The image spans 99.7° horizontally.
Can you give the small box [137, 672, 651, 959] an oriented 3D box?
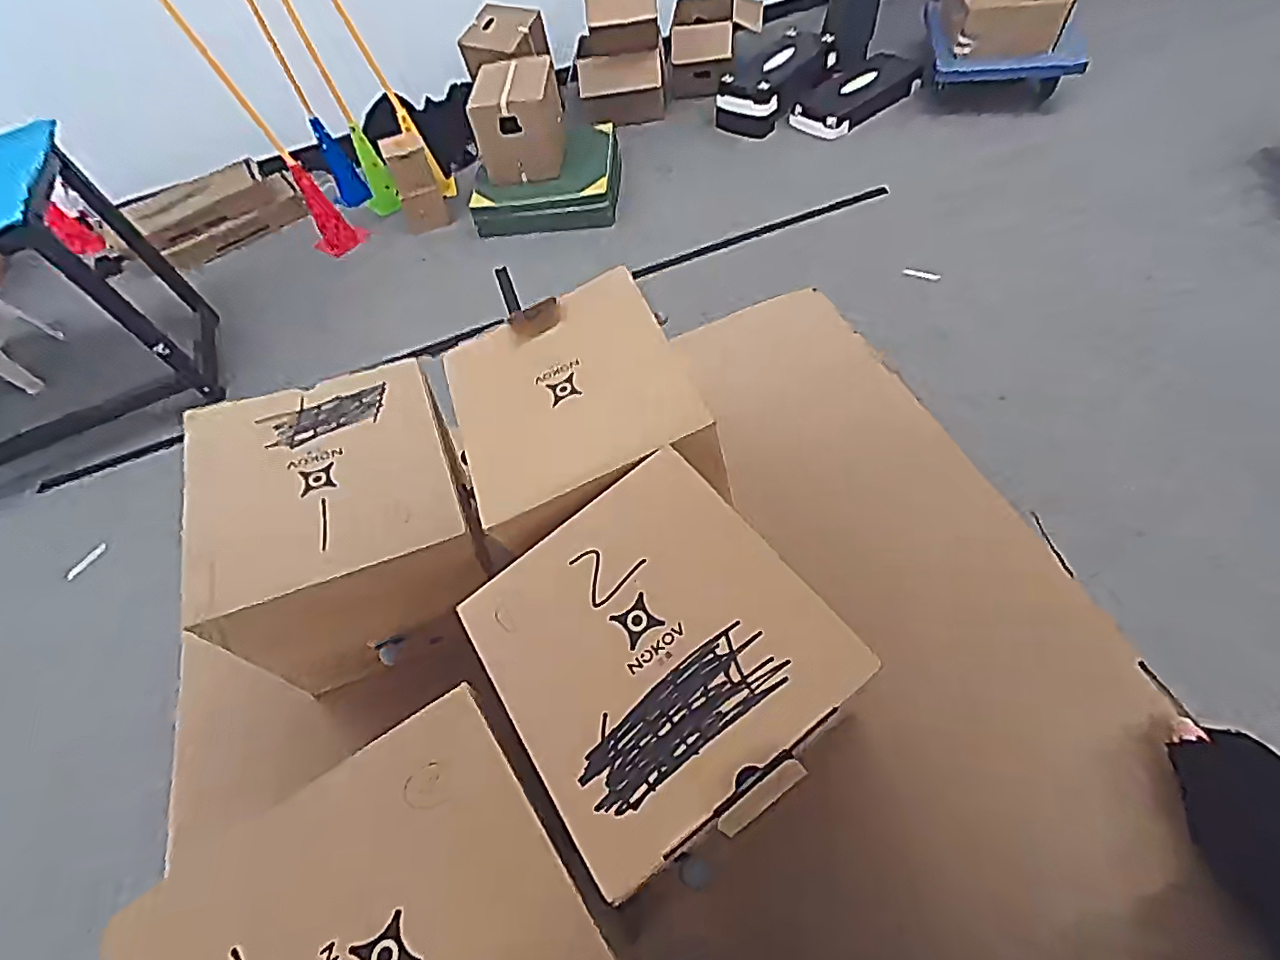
[{"bbox_3d":[-0.113,0.244,0.305,0.179,0.176,0.168,-31,62,-20],"label":"small box"}]
